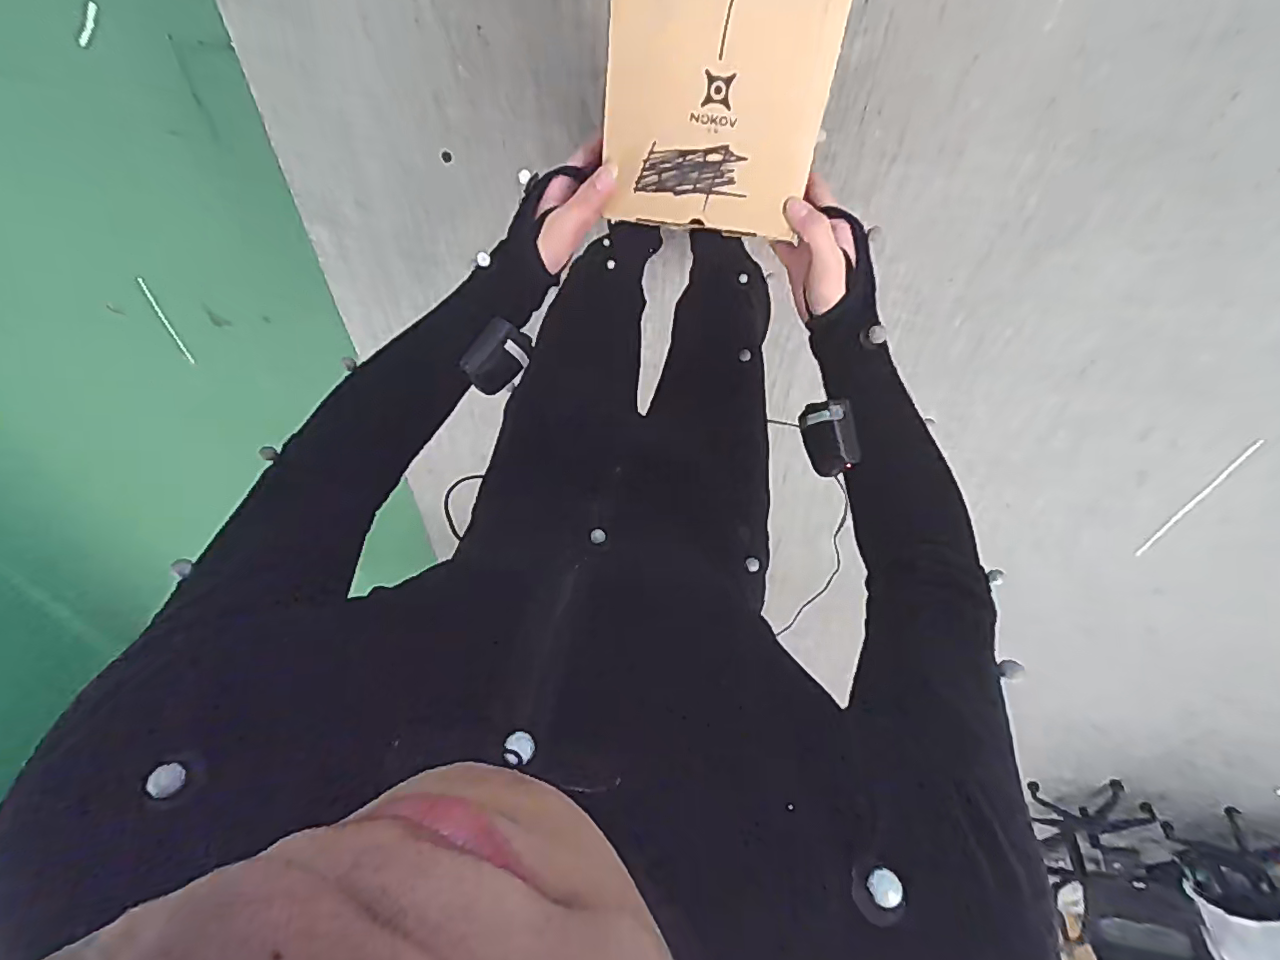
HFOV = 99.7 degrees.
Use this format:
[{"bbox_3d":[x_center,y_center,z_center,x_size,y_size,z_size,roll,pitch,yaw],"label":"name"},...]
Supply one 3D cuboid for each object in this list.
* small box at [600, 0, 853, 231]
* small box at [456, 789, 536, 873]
[{"bbox_3d":[0.063,-0.332,0.463,0.168,0.176,0.179,7,125,-1],"label":"small box"},{"bbox_3d":[-0.427,1.065,1.643,0.168,0.176,0.179,4,136,8],"label":"small box"}]
